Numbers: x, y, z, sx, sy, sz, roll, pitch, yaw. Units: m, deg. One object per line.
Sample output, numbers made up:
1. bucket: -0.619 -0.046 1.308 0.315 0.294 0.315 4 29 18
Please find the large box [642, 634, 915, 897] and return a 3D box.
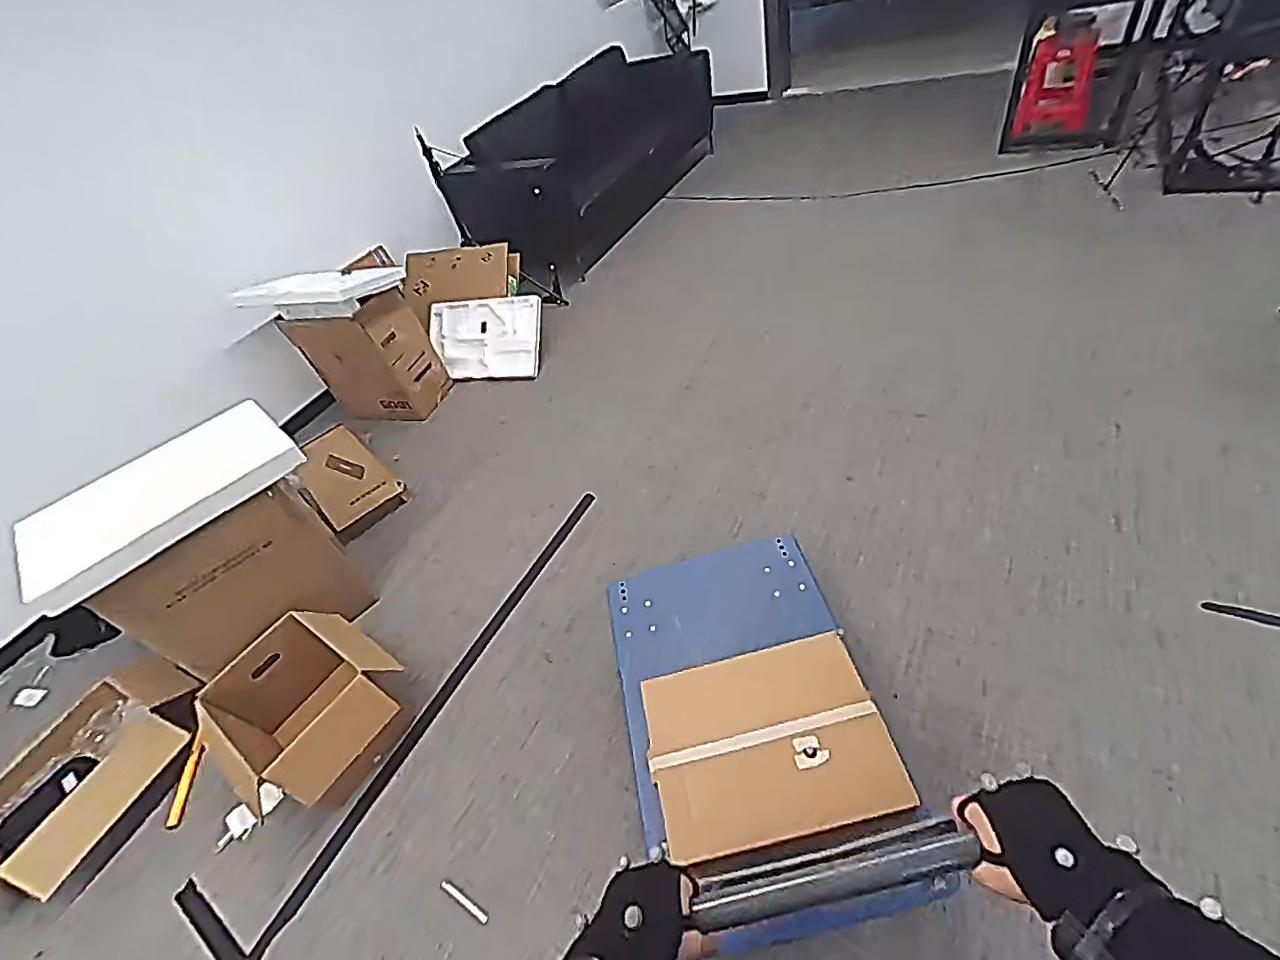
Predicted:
1. large box: 0.249 0.561 1.062 0.408 0.320 0.320 -15 45 1
